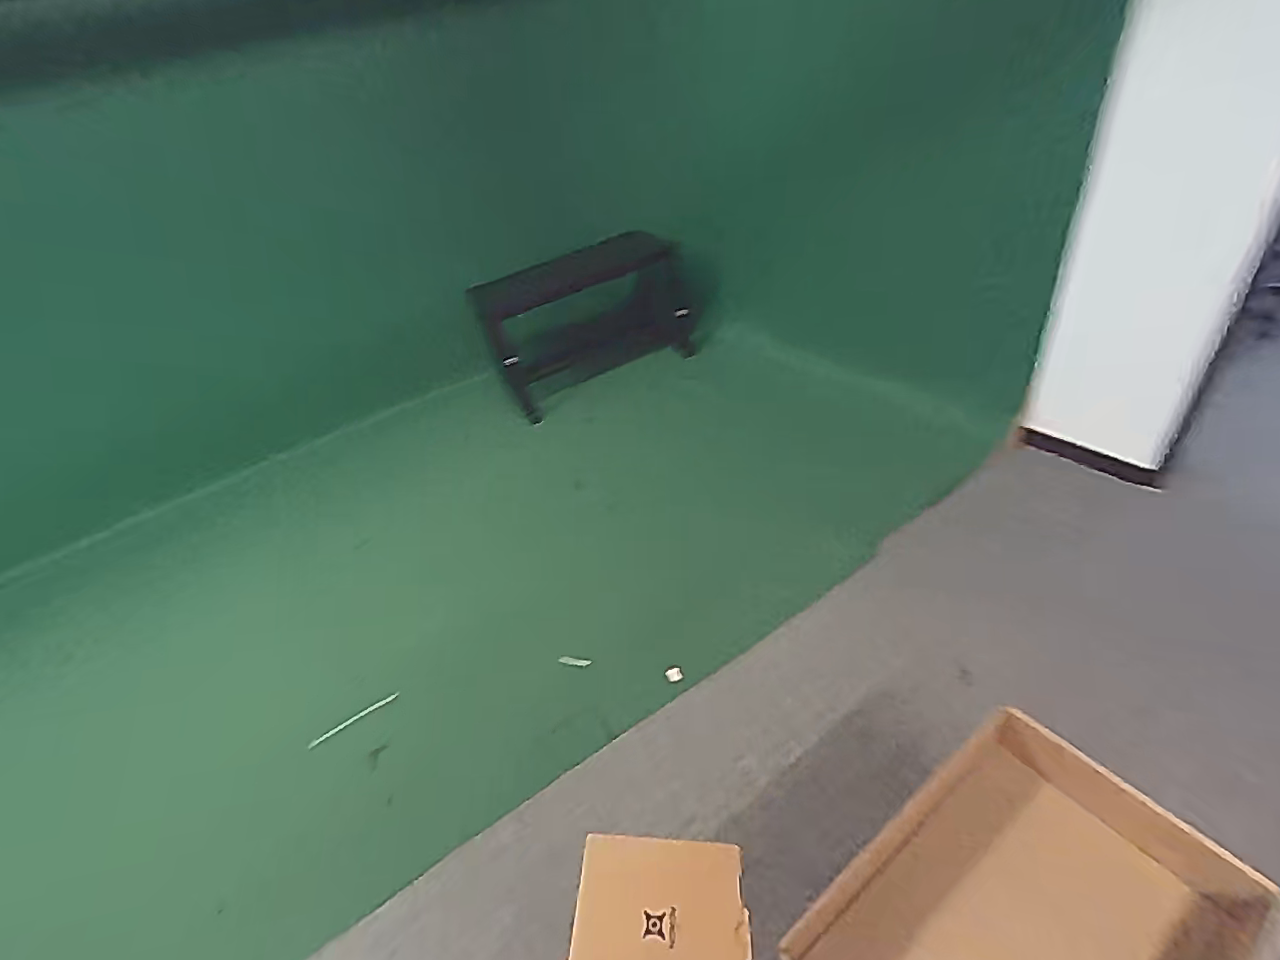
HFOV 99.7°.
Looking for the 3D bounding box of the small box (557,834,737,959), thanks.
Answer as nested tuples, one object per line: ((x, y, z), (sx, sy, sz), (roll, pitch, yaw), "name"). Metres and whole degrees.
((0.010, 0.517, 0.582), (0.179, 0.176, 0.168), (1, 29, 3), "small box")
